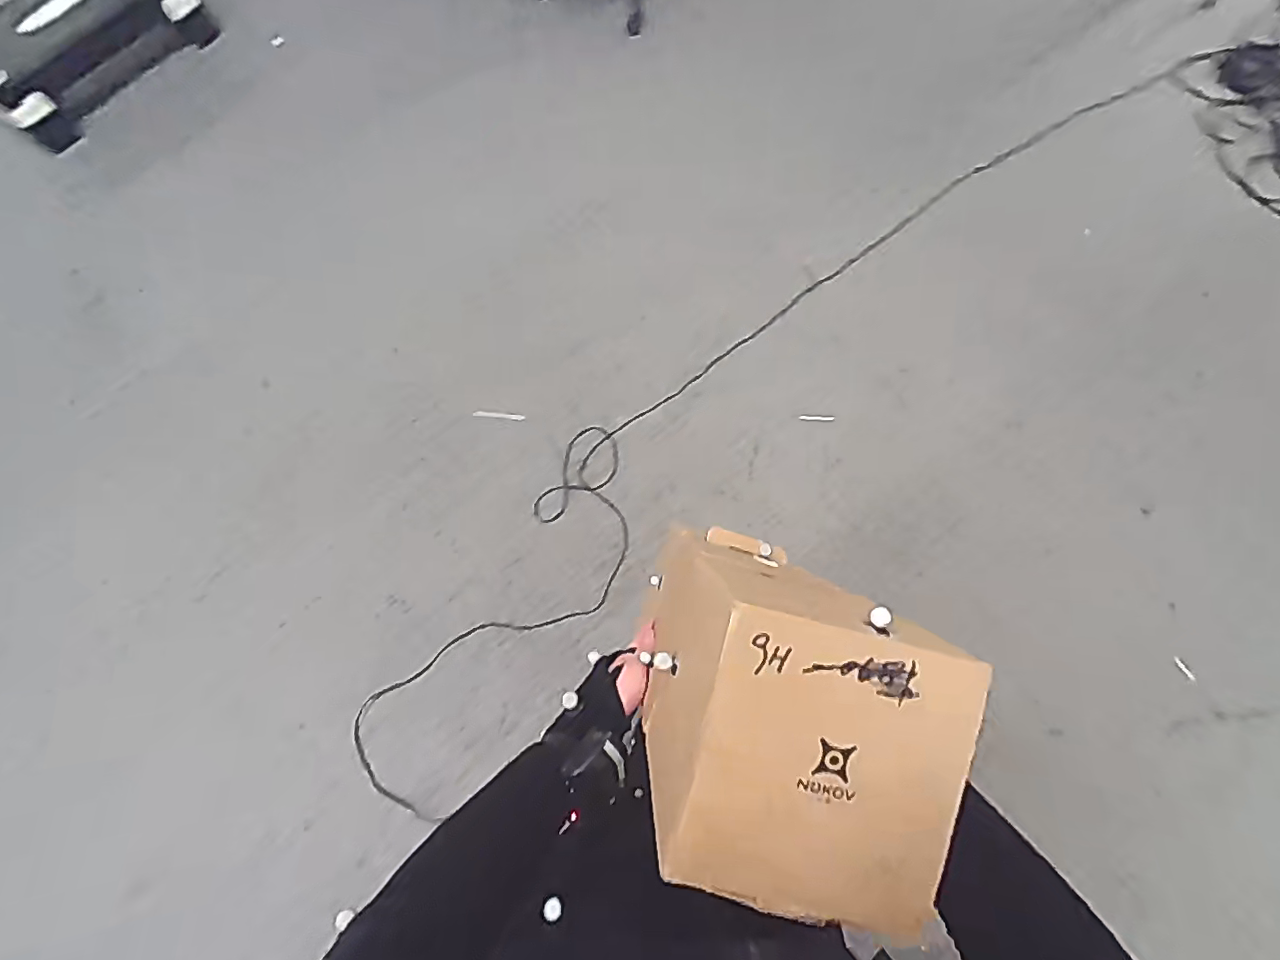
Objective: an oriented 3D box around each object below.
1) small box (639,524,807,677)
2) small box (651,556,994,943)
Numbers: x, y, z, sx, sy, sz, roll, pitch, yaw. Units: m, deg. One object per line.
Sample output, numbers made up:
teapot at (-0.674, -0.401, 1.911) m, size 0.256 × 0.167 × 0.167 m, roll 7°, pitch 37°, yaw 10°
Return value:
small box at (0.096, 0.165, 0.720) m, size 0.168 × 0.176 × 0.179 m, roll 16°, pitch 90°, yaw -1°
small box at (0.106, 0.169, 0.395) m, size 0.168 × 0.176 × 0.179 m, roll 13°, pitch 92°, yaw -3°
